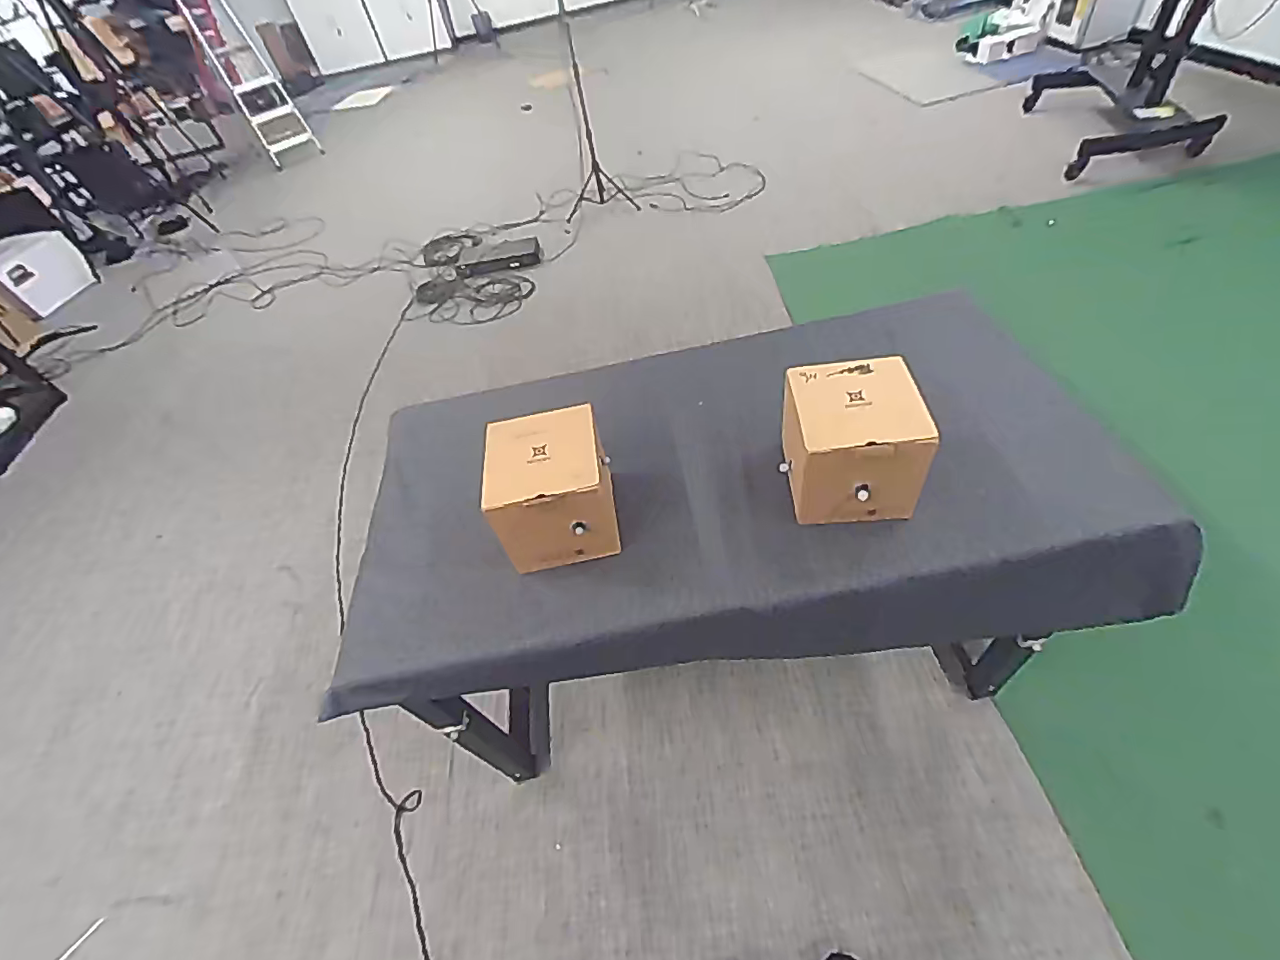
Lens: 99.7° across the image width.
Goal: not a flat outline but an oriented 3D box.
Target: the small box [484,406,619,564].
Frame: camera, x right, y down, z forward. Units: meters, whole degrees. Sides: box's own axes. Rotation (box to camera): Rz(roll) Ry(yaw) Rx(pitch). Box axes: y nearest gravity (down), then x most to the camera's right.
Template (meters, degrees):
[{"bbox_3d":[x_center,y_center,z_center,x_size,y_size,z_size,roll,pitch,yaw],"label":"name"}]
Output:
[{"bbox_3d":[-0.133,0.015,0.850,0.168,0.176,0.179,-12,47,0],"label":"small box"}]

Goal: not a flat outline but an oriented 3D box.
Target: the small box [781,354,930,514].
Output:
[{"bbox_3d":[0.307,-0.061,0.812,0.168,0.176,0.179,-5,50,8],"label":"small box"}]
